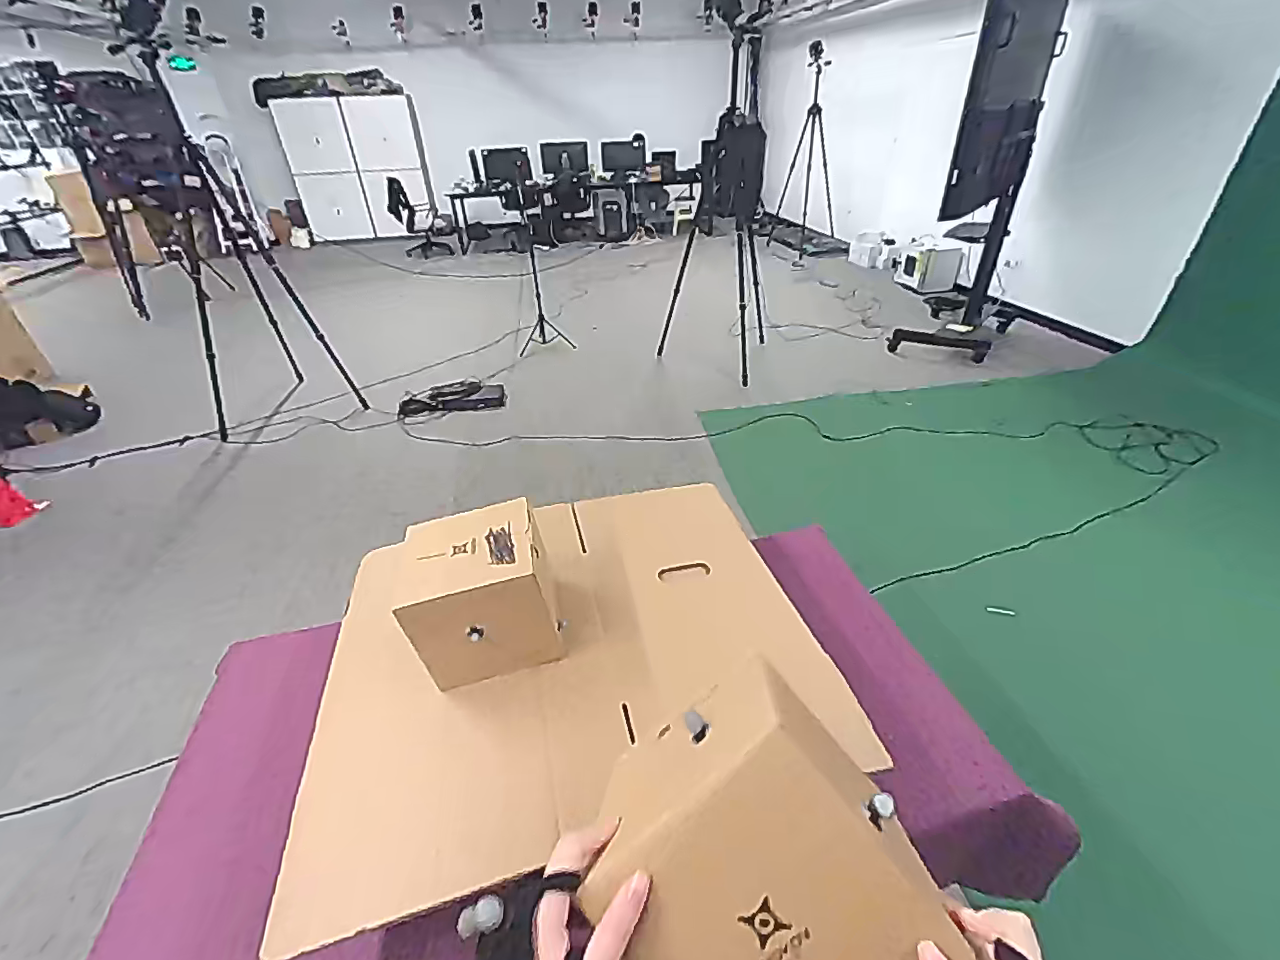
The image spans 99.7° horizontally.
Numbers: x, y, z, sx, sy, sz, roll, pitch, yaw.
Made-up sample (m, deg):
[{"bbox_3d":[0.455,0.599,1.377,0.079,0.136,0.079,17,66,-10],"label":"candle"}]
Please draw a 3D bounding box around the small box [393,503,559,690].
[{"bbox_3d":[-0.217,0.163,0.763,0.179,0.176,0.168,-15,36,-5],"label":"small box"}]
